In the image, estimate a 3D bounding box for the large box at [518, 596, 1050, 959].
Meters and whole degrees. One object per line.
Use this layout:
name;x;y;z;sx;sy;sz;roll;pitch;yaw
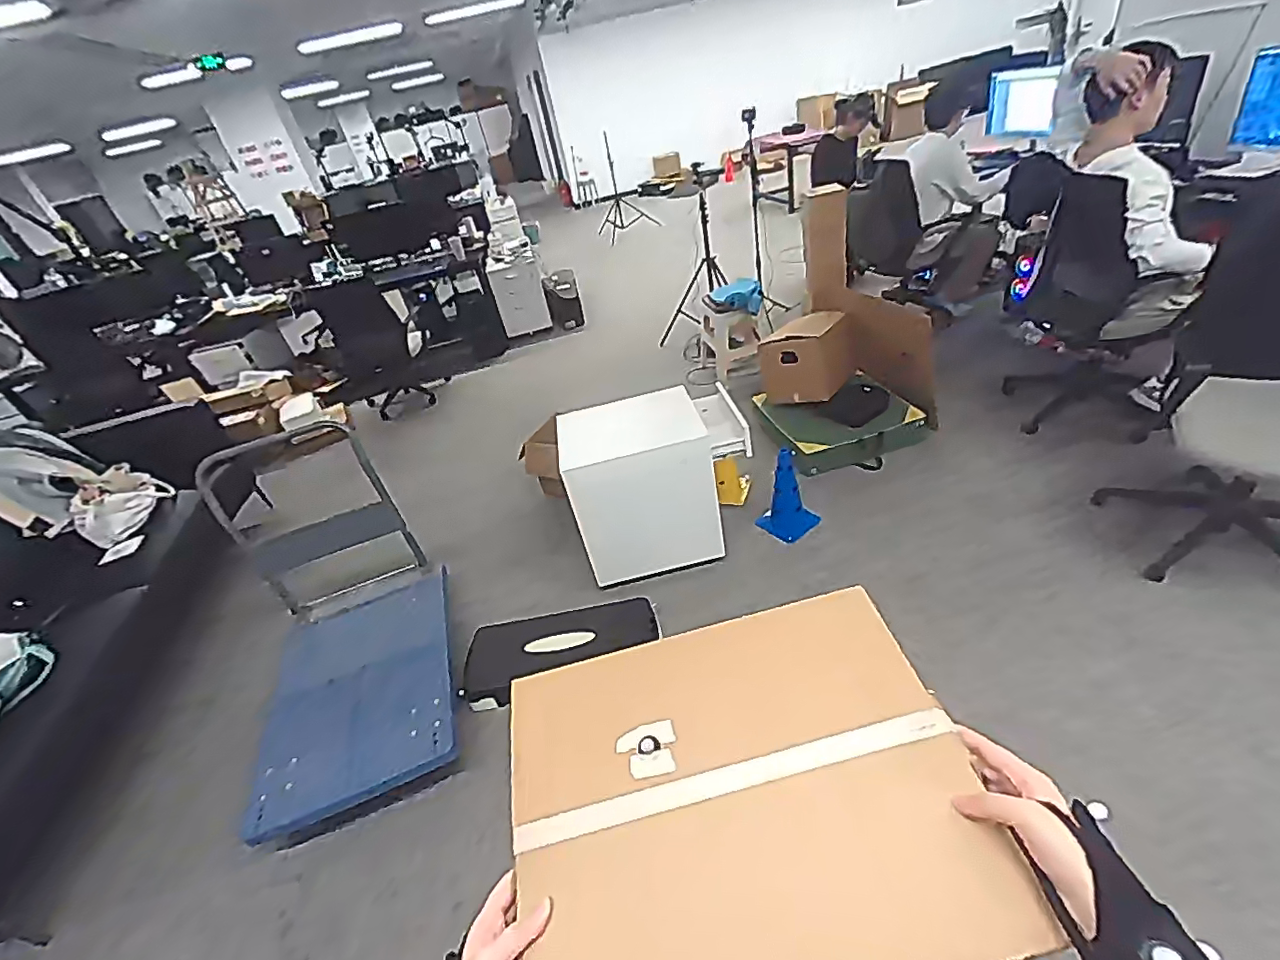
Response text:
large box;0.115;0.388;0.601;0.408;0.320;0.320;-17;43;1
